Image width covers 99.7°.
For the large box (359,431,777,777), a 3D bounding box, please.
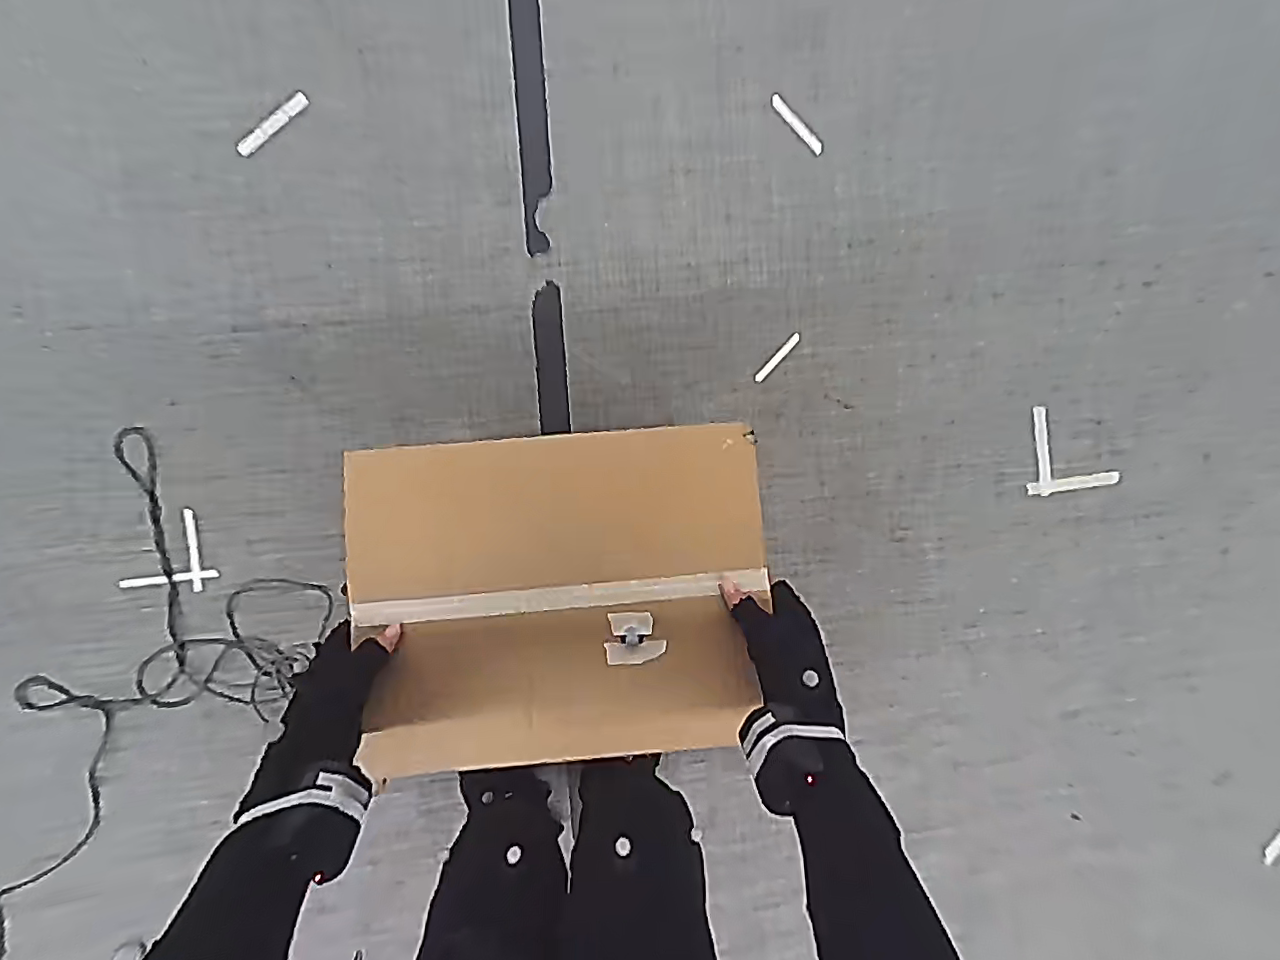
[{"bbox_3d":[-0.079,0.129,0.688,0.408,0.320,0.320,-4,87,-2],"label":"large box"}]
